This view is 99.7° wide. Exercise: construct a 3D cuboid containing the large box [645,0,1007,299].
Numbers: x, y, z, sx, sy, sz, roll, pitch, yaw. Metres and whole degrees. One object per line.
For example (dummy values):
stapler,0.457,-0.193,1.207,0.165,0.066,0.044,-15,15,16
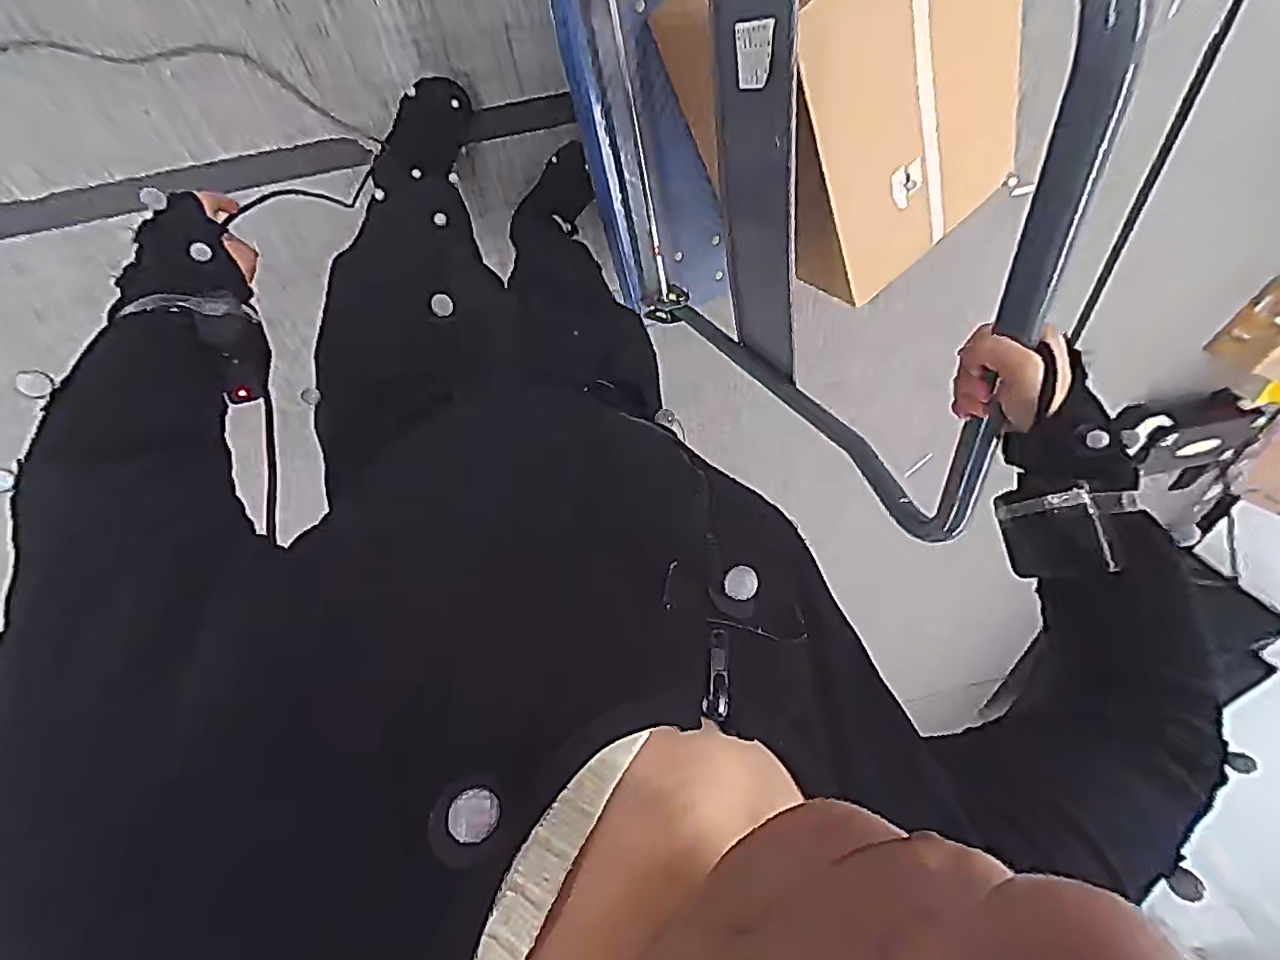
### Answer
large box,0.275,-0.556,0.782,0.320,0.320,0.408,-41,139,3
